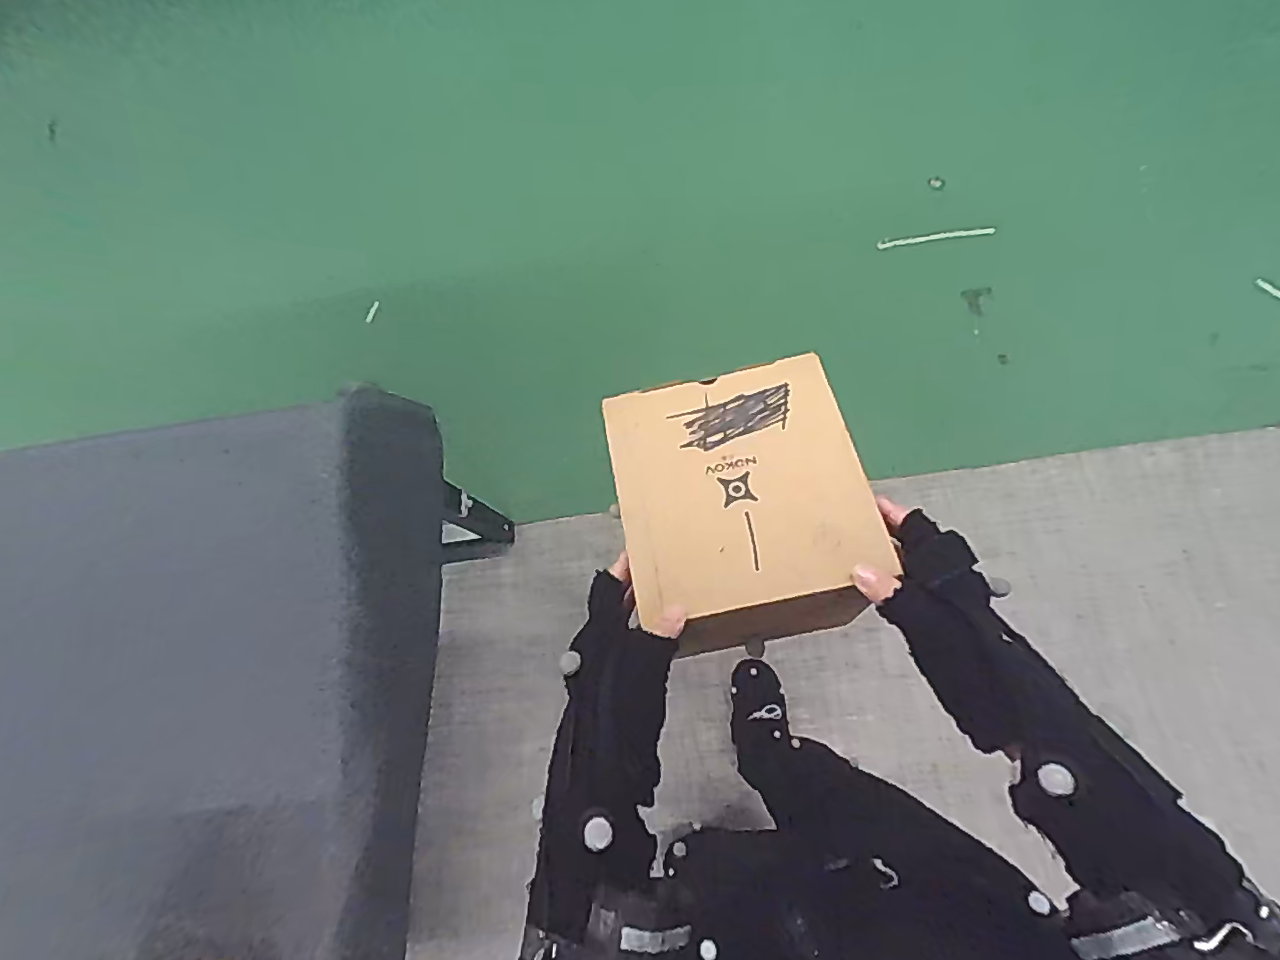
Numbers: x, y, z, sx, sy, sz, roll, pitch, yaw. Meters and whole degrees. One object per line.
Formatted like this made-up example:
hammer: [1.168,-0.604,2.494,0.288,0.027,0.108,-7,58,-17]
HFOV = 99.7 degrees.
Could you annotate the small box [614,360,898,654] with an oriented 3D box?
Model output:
small box: [0.079,0.033,0.446,0.168,0.176,0.179,-11,64,4]
